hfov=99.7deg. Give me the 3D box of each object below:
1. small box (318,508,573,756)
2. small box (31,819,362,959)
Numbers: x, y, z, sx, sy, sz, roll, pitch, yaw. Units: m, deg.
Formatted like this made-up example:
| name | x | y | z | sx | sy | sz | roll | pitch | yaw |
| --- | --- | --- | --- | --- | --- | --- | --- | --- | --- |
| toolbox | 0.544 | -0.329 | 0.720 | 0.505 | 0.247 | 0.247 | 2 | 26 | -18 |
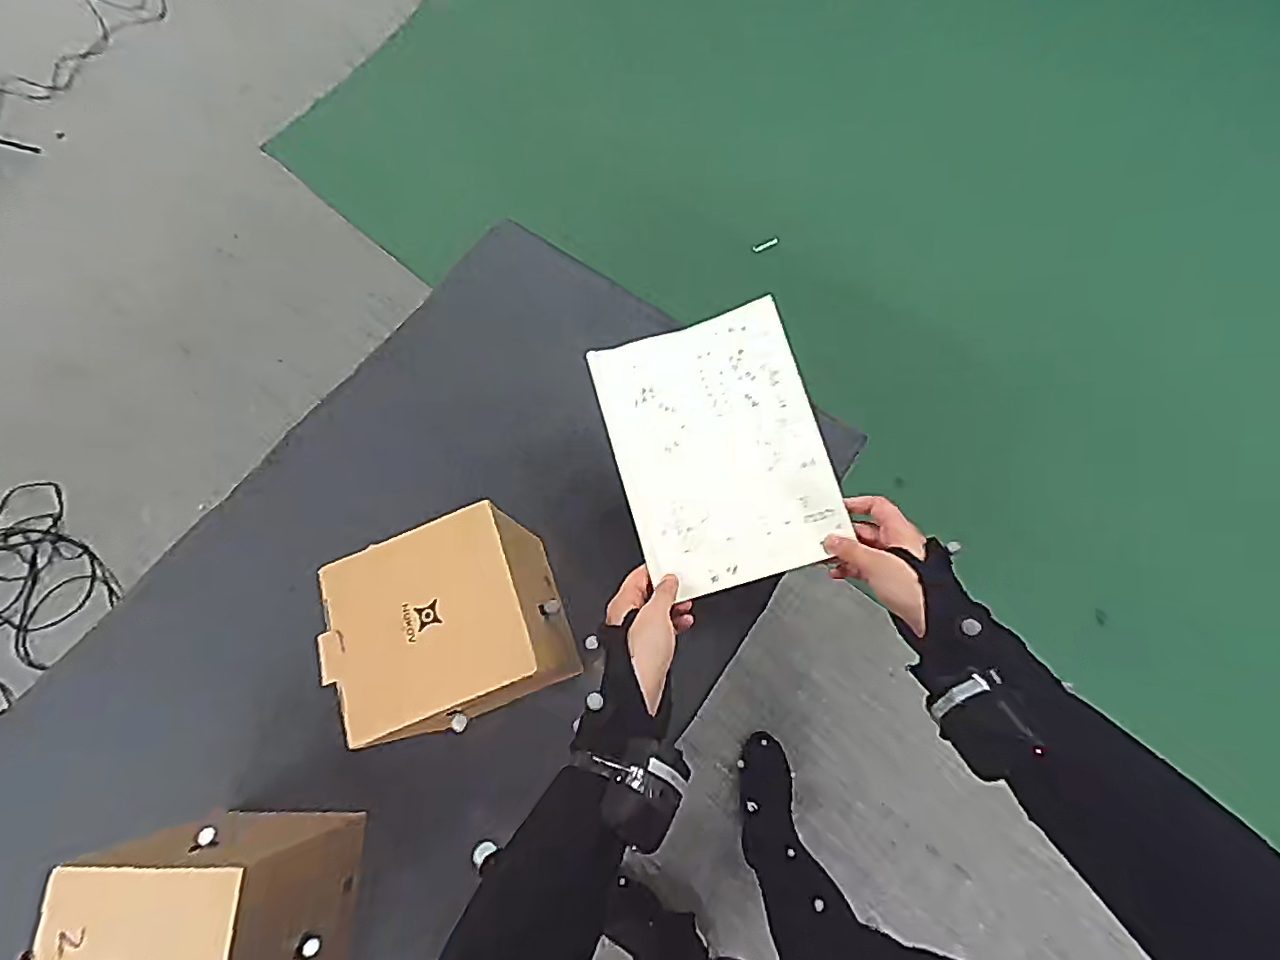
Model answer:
| name | x | y | z | sx | sy | sz | roll | pitch | yaw |
| --- | --- | --- | --- | --- | --- | --- | --- | --- | --- |
| small box | -0.179 | 0.150 | 0.548 | 0.179 | 0.176 | 0.168 | -23 | 70 | 1 |
| small box | -0.384 | 0.420 | 0.486 | 0.179 | 0.176 | 0.168 | -4 | 71 | 6 |
